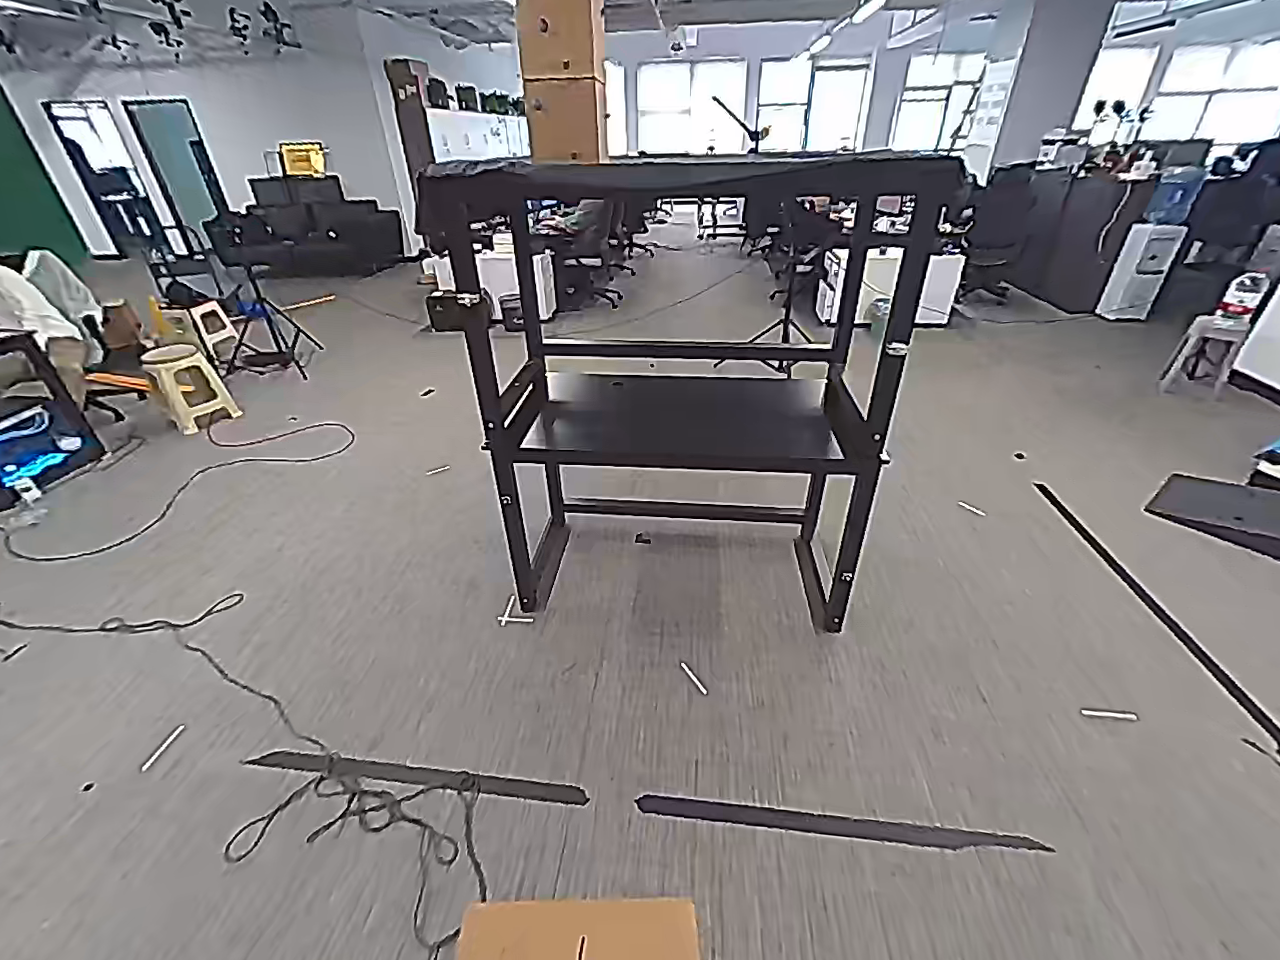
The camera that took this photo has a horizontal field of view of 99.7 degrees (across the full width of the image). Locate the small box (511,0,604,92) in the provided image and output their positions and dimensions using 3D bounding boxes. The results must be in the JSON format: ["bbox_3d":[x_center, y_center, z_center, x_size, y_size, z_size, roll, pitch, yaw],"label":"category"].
[{"bbox_3d":[-0.176,-0.987,1.216,0.168,0.176,0.179,2,31,5],"label":"small box"}]

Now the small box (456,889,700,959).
[{"bbox_3d":[-0.042,0.412,0.366,0.168,0.176,0.179,1,35,-3],"label":"small box"}]
